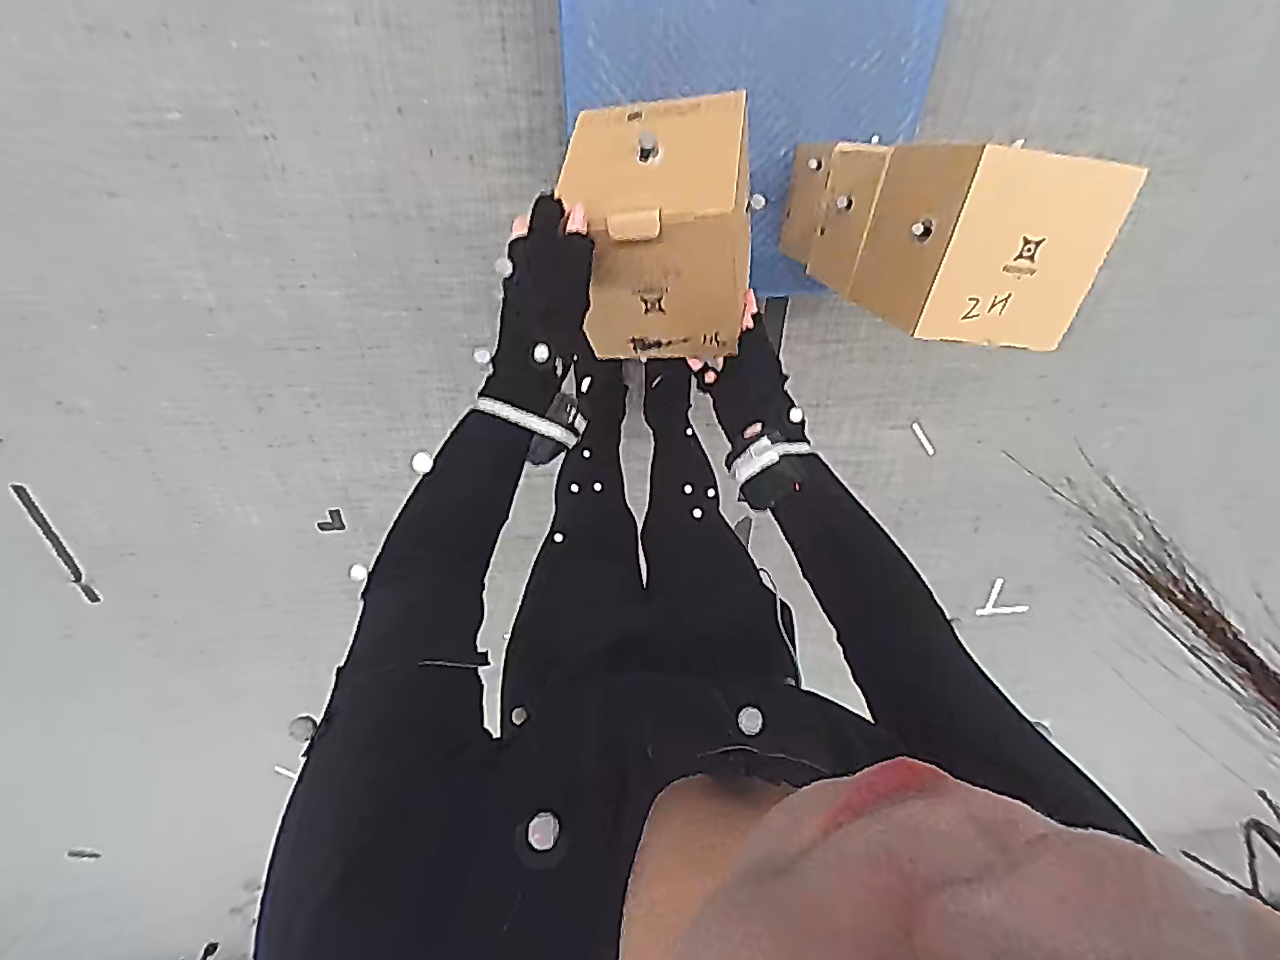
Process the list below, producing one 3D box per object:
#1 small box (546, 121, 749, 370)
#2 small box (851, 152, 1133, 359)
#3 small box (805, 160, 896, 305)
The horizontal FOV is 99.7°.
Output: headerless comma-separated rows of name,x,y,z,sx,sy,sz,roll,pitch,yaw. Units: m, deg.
small box,0.023,-0.234,0.552,0.168,0.176,0.179,2,154,14
small box,0.361,-0.251,0.600,0.168,0.176,0.179,4,121,-7
small box,0.349,-0.334,0.741,0.179,0.176,0.168,2,121,-7
